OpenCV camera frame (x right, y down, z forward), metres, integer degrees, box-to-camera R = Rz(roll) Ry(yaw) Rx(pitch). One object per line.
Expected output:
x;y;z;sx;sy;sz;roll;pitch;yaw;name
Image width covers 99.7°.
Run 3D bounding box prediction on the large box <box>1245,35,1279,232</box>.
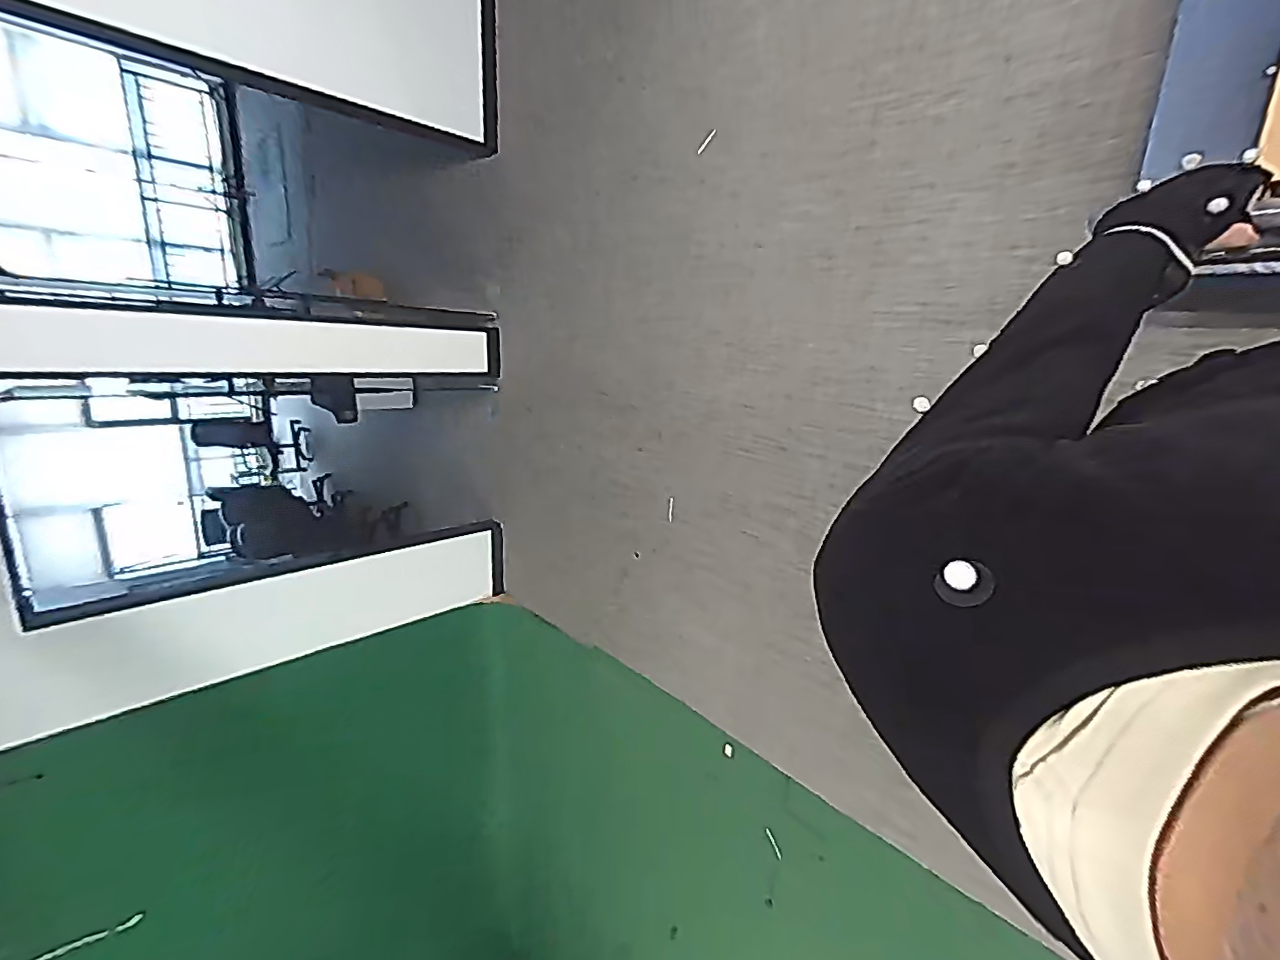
1.082;-0.595;0.723;0.320;0.320;0.408;15;107;44;large box
